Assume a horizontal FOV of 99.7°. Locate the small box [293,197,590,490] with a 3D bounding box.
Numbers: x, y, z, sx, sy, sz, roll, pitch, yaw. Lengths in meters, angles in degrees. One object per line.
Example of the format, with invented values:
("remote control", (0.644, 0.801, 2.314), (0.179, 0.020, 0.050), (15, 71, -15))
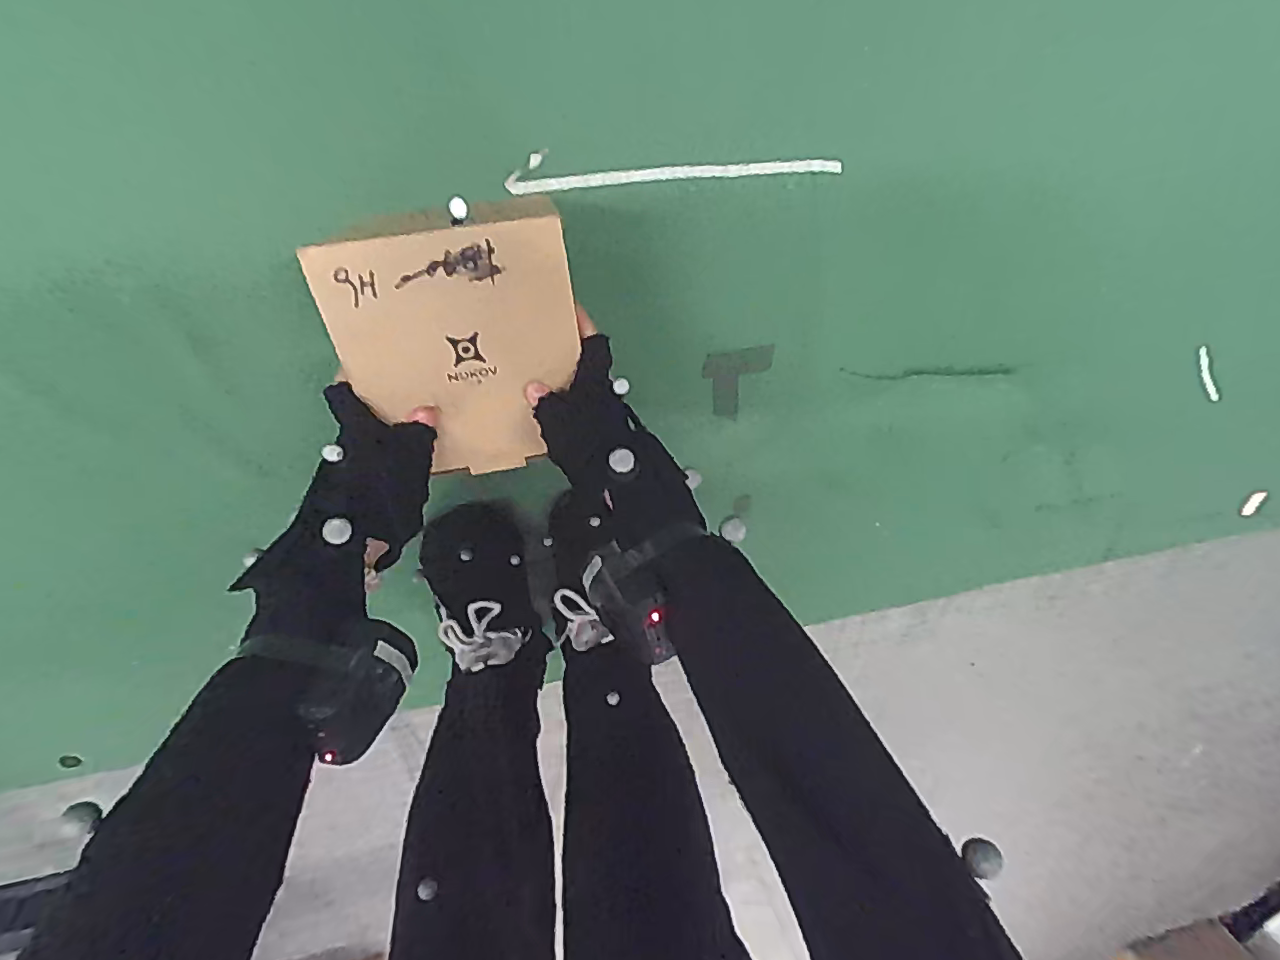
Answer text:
("small box", (-0.138, -0.119, 0.446), (0.168, 0.176, 0.179), (-10, 124, -7))
